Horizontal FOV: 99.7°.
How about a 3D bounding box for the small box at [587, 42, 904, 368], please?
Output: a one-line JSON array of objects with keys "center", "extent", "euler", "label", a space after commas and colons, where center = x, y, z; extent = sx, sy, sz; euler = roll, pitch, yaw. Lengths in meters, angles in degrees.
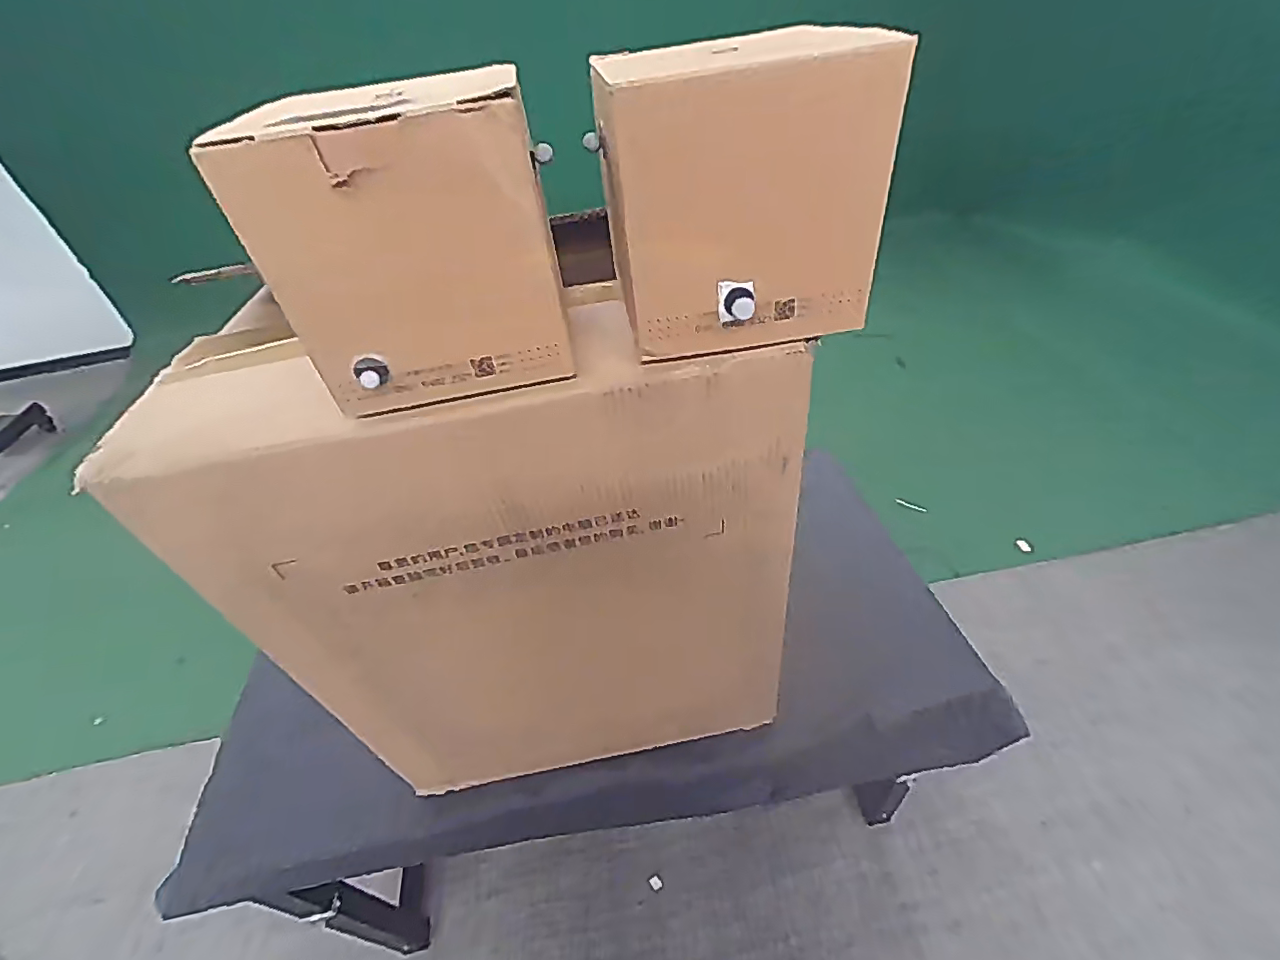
[{"center": [0.060, -0.207, 0.405], "extent": [0.168, 0.176, 0.179], "euler": [-12, 42, -3], "label": "small box"}]
